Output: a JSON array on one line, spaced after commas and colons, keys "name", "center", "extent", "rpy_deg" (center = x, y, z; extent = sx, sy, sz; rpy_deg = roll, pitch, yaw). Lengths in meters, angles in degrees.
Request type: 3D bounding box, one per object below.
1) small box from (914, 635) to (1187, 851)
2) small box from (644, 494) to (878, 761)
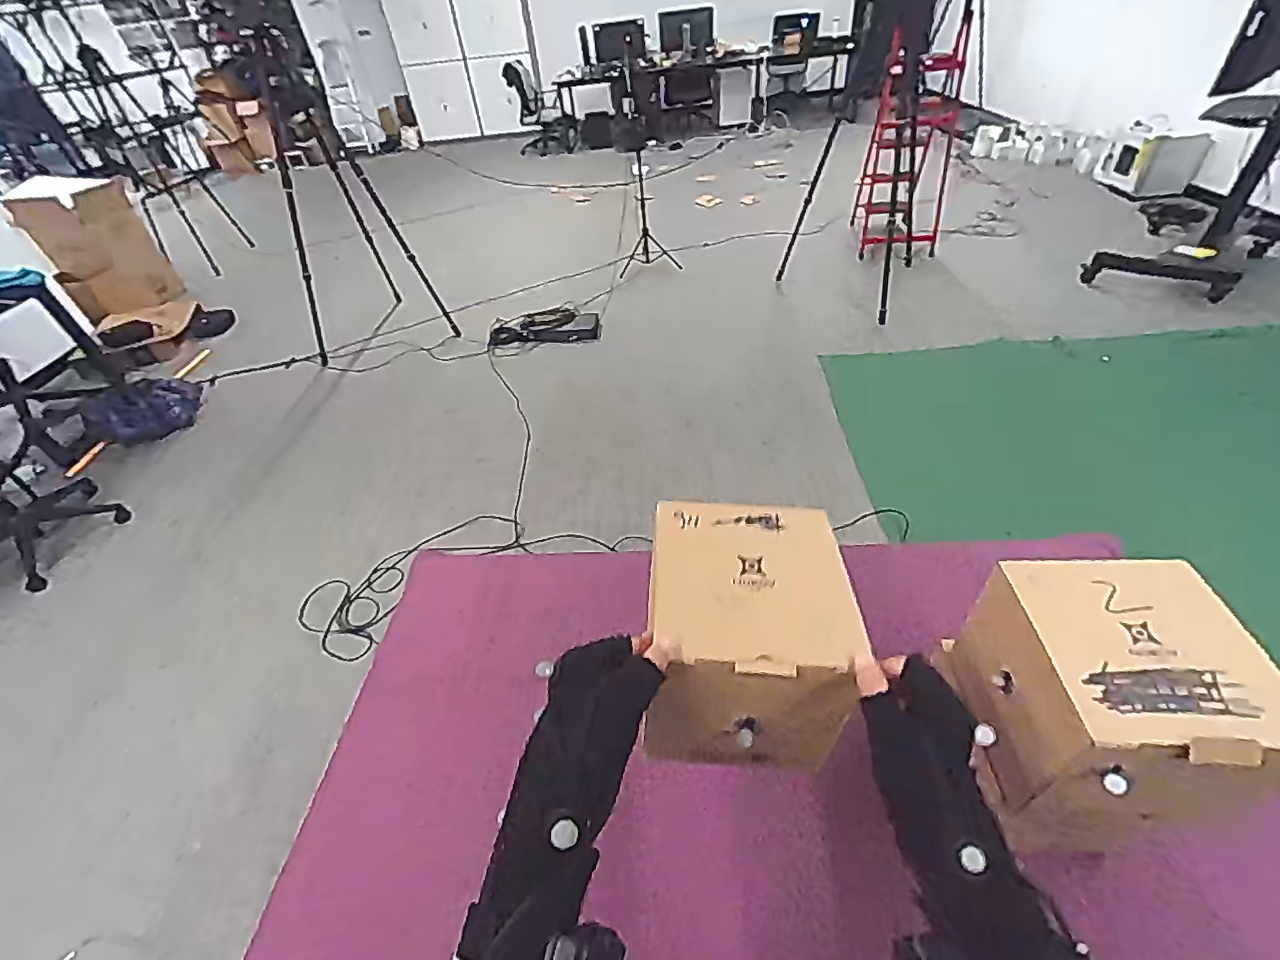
[{"name": "small box", "center": [0.440, 0.302, 0.622], "extent": [0.168, 0.176, 0.179], "rpy_deg": [1, 44, 7]}, {"name": "small box", "center": [0.091, 0.136, 0.497], "extent": [0.168, 0.176, 0.179], "rpy_deg": [4, 41, 0]}]
